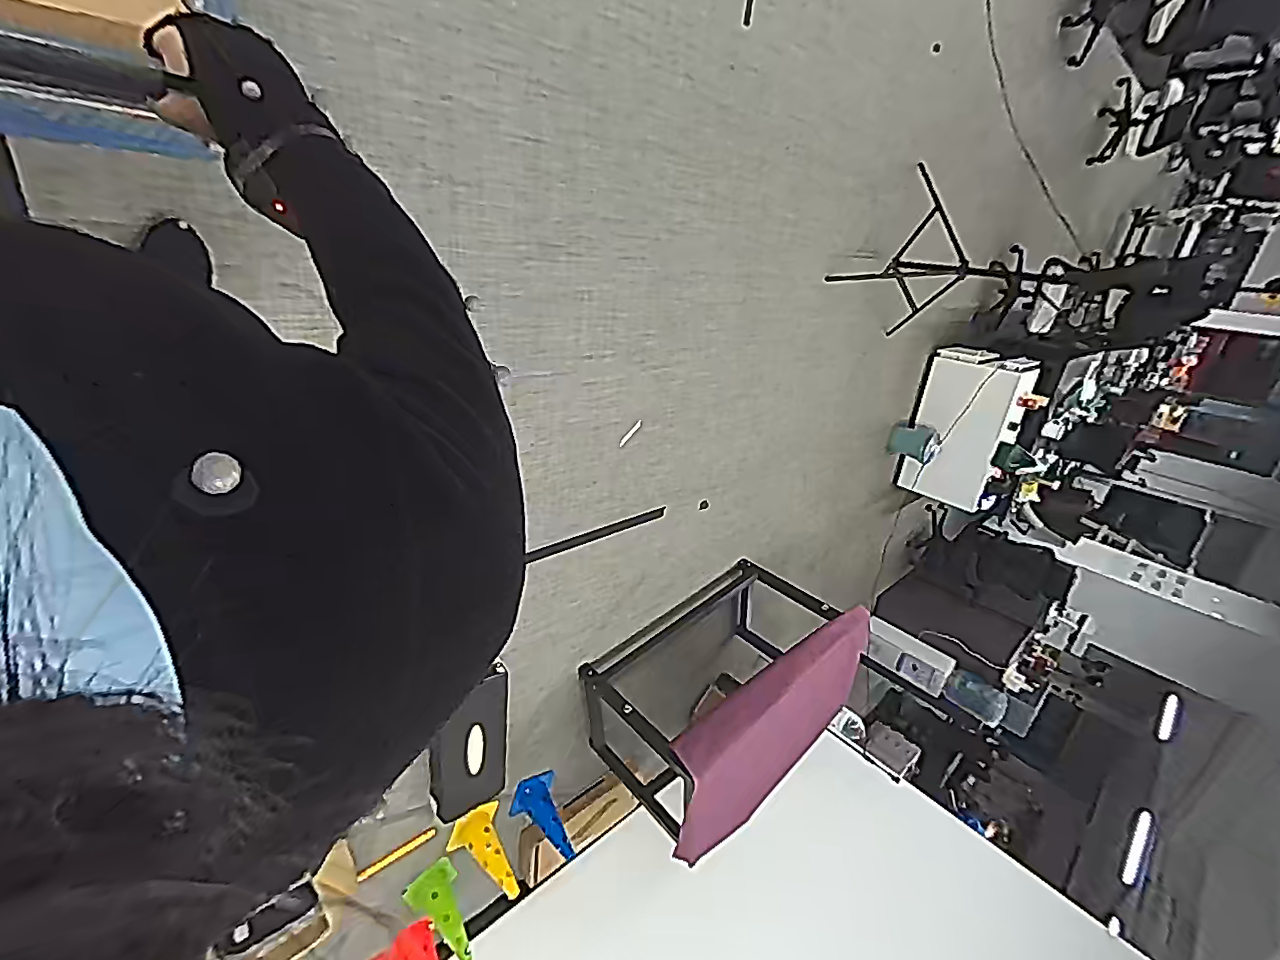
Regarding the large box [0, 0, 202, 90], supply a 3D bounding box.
[{"bbox_3d":[-0.811,-0.699,0.623,0.408,0.320,0.320,-16,121,-41],"label":"large box"}]
